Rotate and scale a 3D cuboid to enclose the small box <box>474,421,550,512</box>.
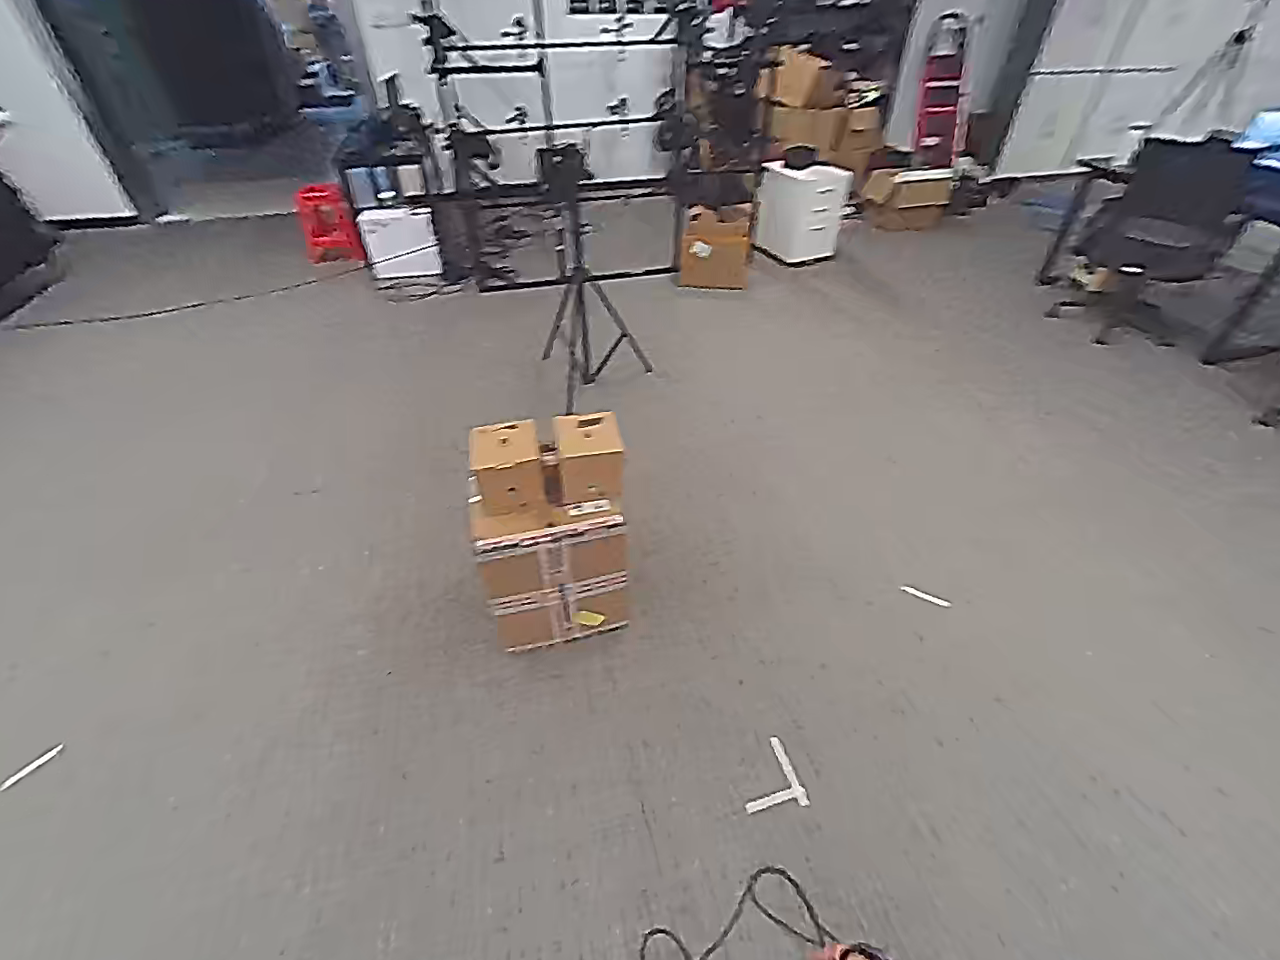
[{"bbox_3d":[-0.337,-0.031,1.439,0.168,0.176,0.179,-9,45,-7],"label":"small box"}]

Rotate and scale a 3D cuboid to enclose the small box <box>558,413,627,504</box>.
[{"bbox_3d":[-0.132,-0.059,1.473,0.168,0.176,0.179,-7,44,-10],"label":"small box"}]
